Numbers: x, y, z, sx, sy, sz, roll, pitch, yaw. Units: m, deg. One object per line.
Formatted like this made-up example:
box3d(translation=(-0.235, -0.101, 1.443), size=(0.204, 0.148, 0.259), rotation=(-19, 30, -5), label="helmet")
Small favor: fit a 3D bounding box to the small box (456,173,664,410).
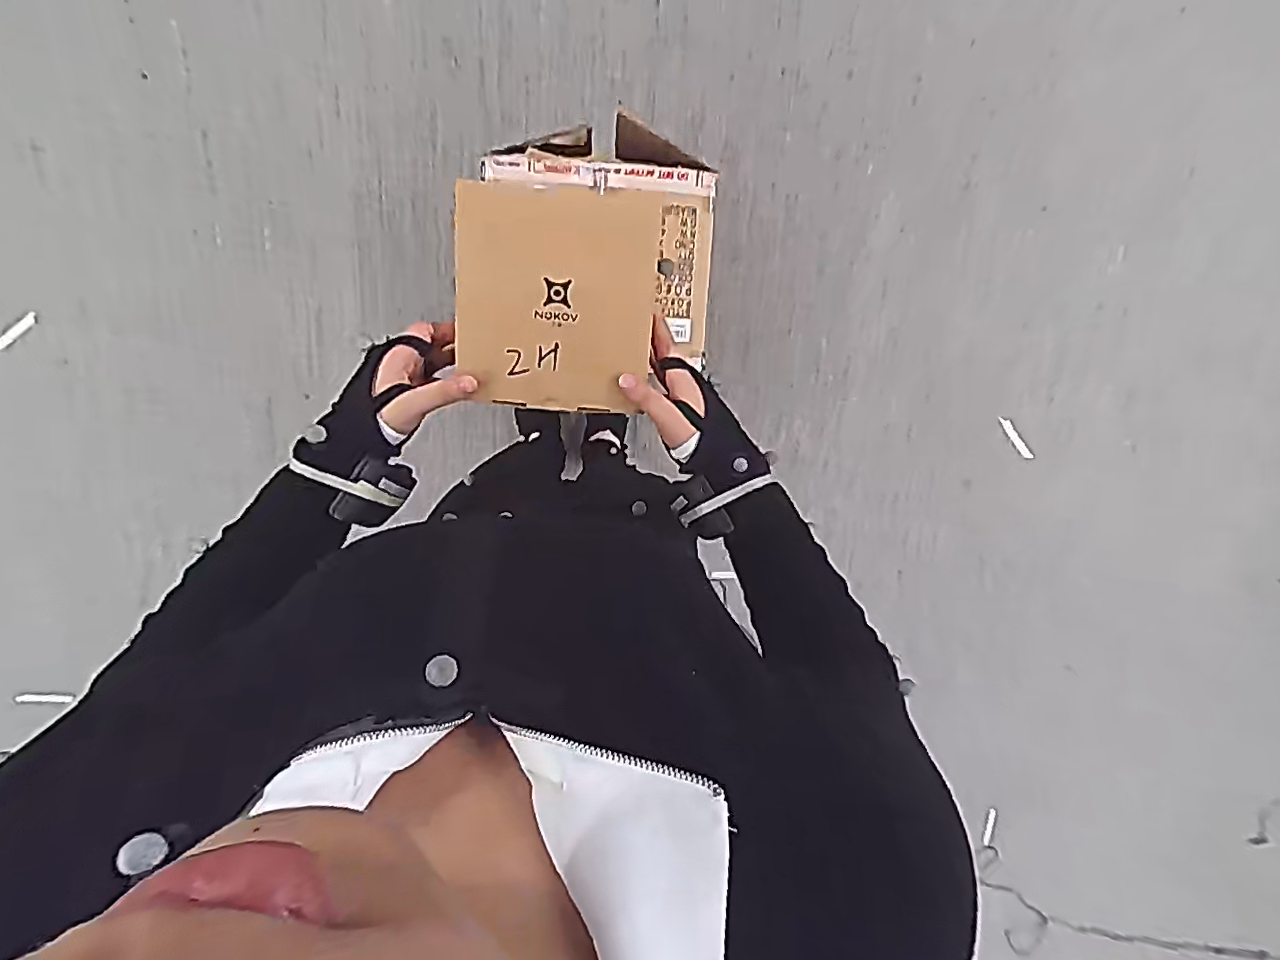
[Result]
box3d(translation=(-0.074, -0.170, 0.528), size=(0.168, 0.176, 0.179), rotation=(4, 104, -4), label="small box")
